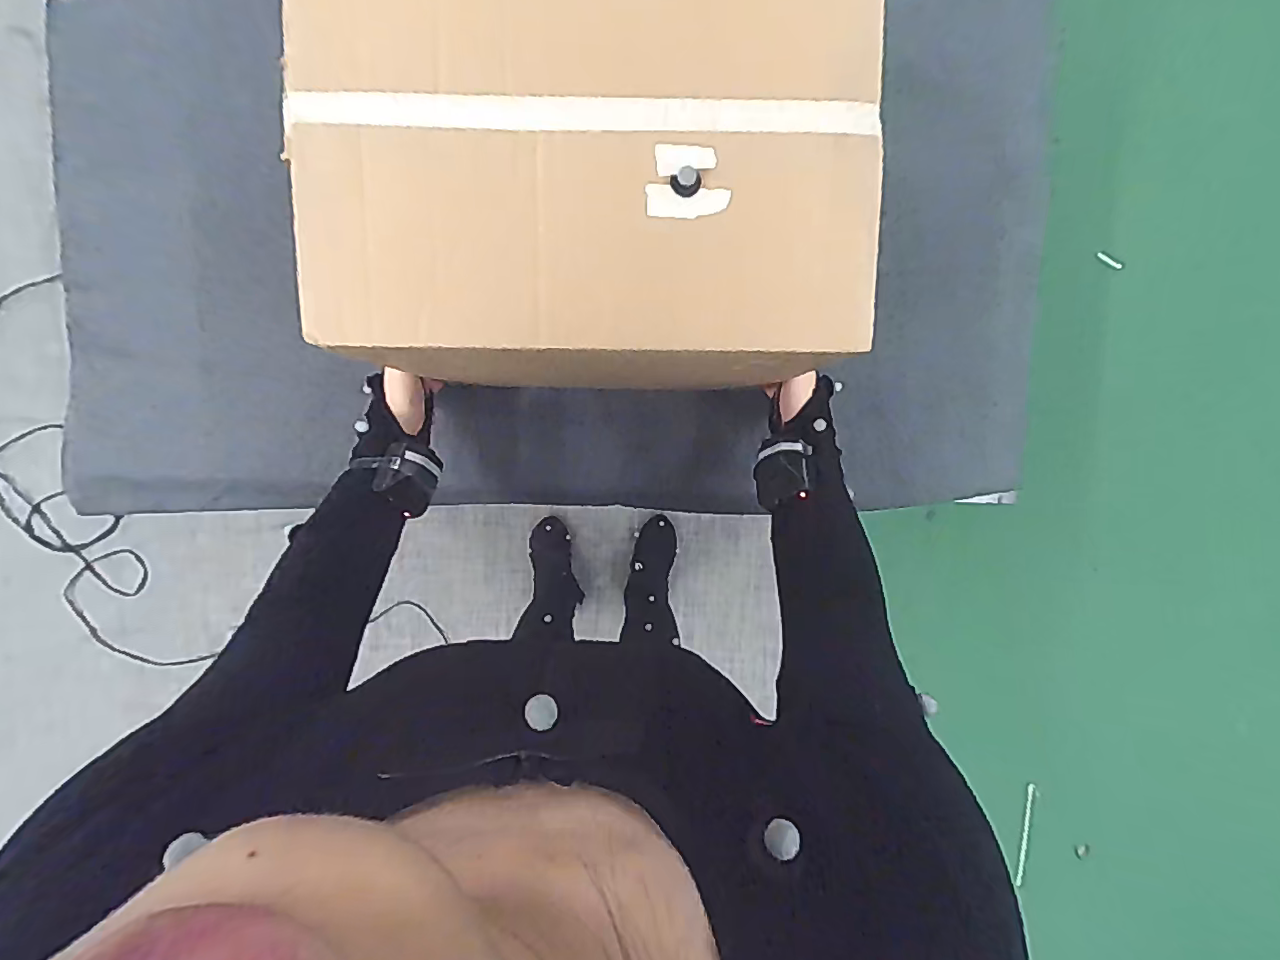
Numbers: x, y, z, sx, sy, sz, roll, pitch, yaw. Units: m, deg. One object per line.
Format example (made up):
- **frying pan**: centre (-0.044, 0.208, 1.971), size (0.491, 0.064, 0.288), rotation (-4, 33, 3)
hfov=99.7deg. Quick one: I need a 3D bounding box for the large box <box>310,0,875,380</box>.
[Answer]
- **large box**: centre (-0.037, -0.272, 0.534), size (0.408, 0.320, 0.320), rotation (0, 95, -2)
